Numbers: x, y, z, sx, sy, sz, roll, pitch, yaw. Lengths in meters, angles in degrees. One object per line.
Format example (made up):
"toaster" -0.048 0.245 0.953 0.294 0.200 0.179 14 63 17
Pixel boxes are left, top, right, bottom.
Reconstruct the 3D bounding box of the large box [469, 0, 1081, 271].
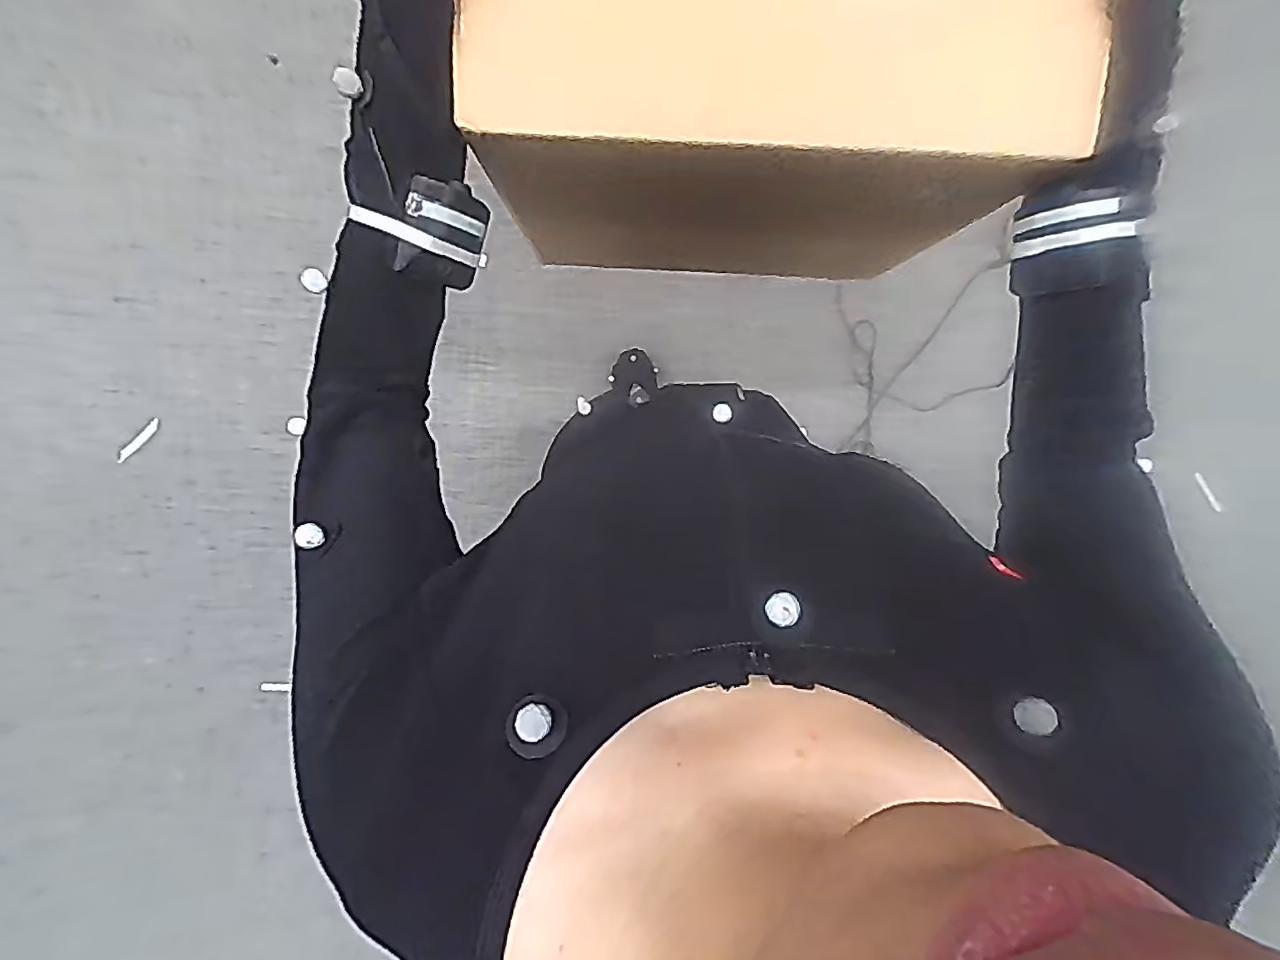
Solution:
"large box" 0.085 -0.391 0.489 0.408 0.320 0.320 2 97 -1
